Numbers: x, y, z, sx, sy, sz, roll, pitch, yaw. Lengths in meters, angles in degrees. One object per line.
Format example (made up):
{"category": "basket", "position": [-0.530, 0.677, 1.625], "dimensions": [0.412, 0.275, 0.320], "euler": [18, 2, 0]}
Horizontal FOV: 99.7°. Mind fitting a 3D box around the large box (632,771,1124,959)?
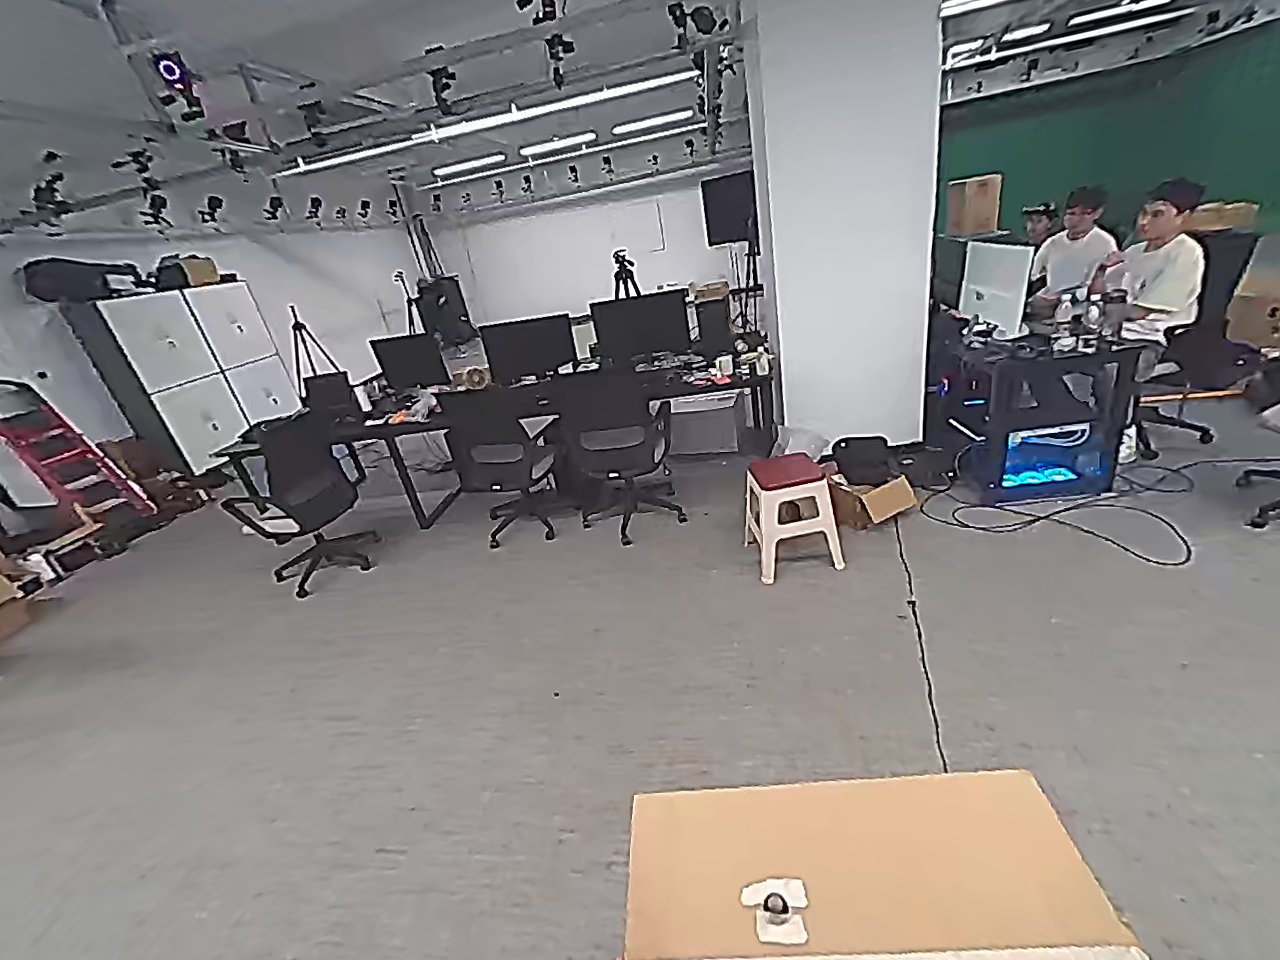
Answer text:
{"category": "large box", "position": [0.217, 0.532, 0.520], "dimensions": [0.408, 0.320, 0.320], "euler": [-9, 30, 7]}
